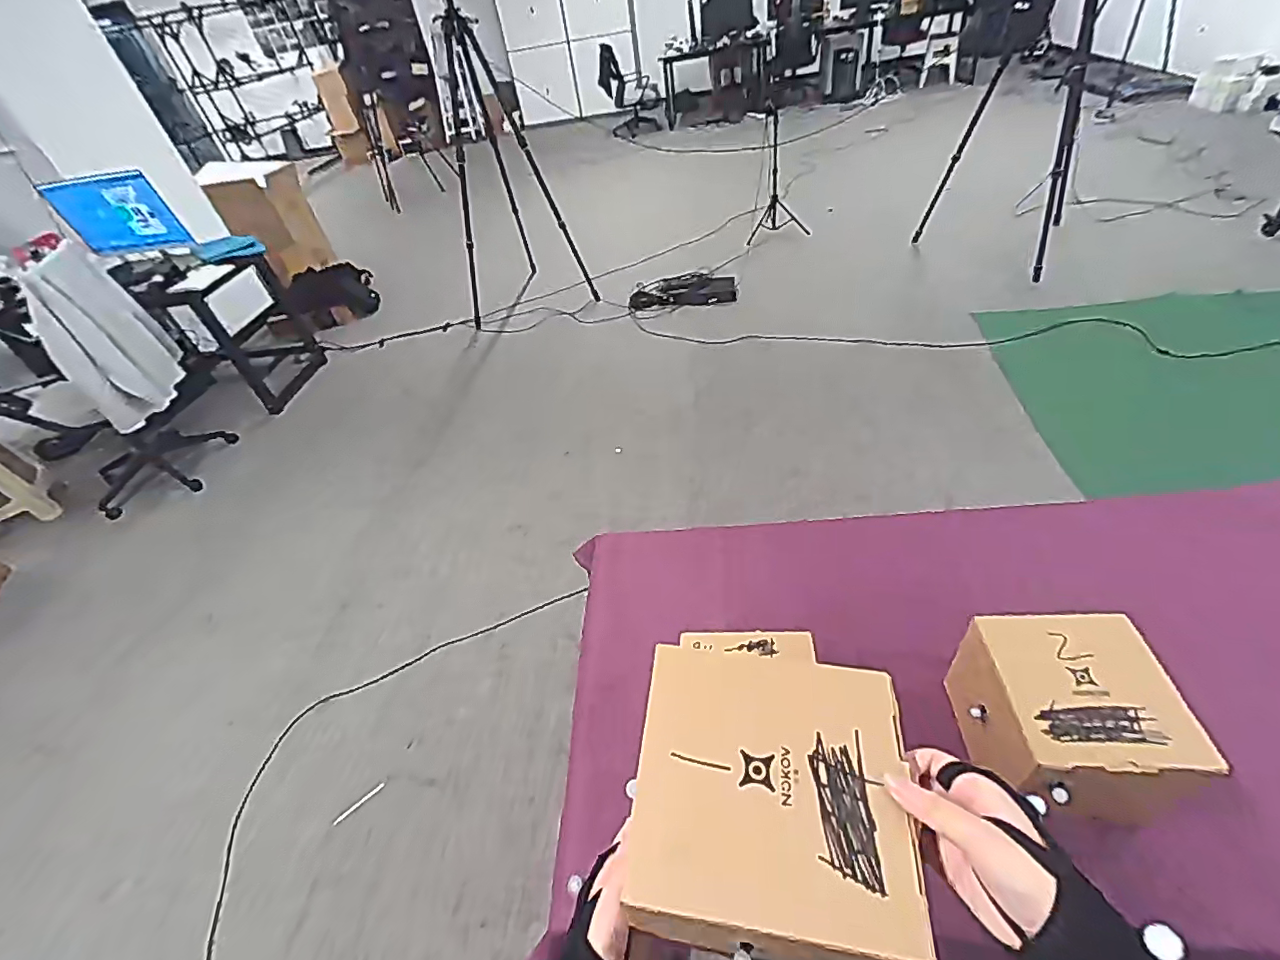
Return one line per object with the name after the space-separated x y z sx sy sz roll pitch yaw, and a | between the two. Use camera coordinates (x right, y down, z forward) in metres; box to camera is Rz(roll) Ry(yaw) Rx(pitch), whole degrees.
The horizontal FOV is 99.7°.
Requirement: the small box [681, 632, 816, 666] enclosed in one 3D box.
0.136 0.312 0.678 0.168 0.176 0.179 -2 44 9 | small box

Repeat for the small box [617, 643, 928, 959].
0.089 0.250 0.415 0.179 0.176 0.168 6 47 9 | small box
